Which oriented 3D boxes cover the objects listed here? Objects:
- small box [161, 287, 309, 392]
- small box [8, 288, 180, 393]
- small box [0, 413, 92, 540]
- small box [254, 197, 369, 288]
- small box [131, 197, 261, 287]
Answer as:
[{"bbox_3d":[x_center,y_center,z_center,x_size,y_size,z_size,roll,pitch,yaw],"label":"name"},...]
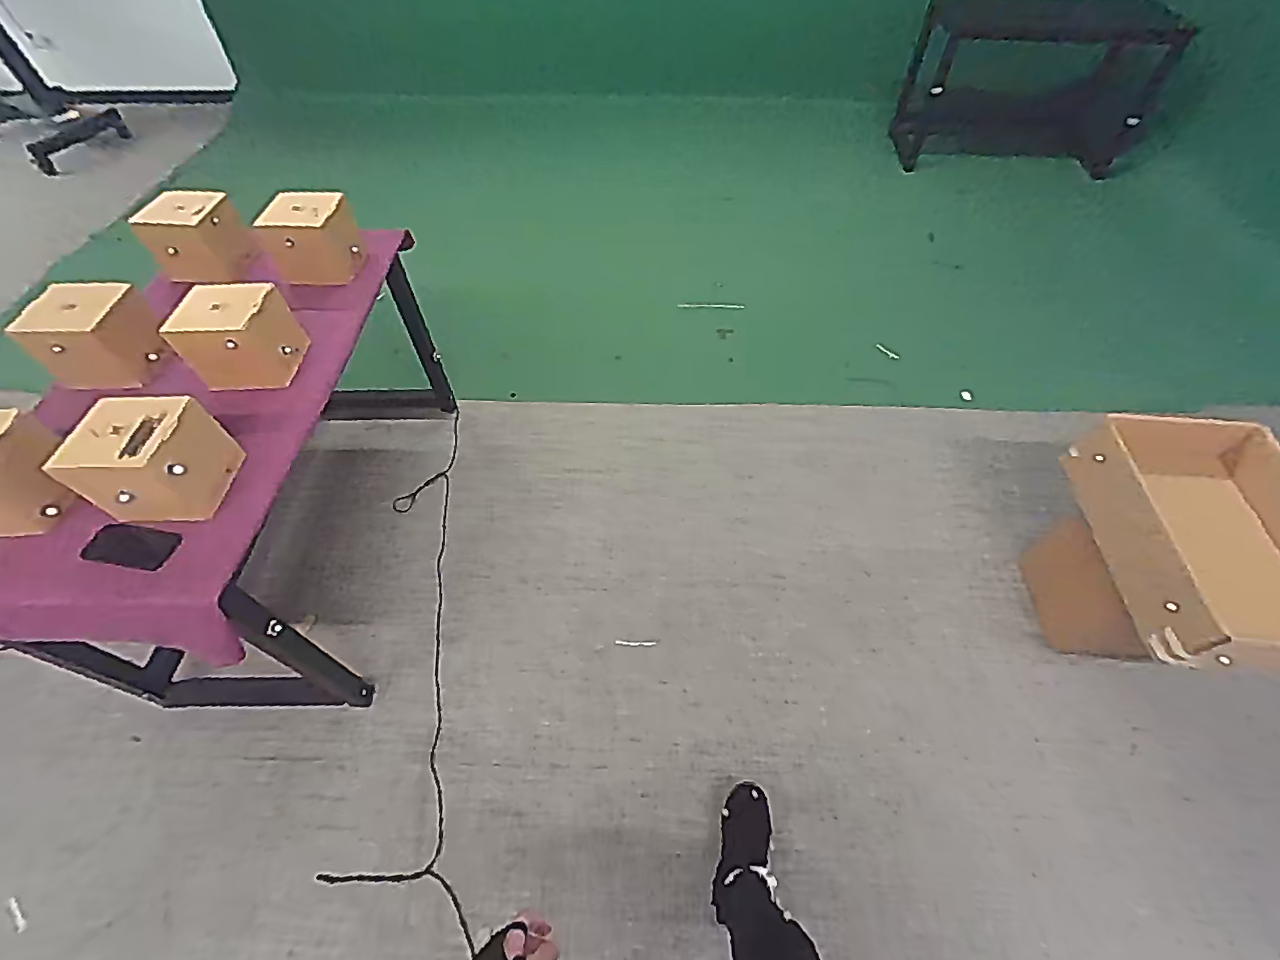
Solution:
[{"bbox_3d":[-0.893,-0.311,1.212,0.179,0.176,0.168,-2,53,0],"label":"small box"},{"bbox_3d":[-1.210,-0.311,1.217,0.179,0.176,0.168,0,54,0],"label":"small box"},{"bbox_3d":[-1.183,-0.001,0.983,0.179,0.176,0.168,-4,53,-1],"label":"small box"},{"bbox_3d":[-0.869,-0.634,1.448,0.179,0.176,0.168,2,55,2],"label":"small box"},{"bbox_3d":[-1.186,-0.641,1.461,0.179,0.176,0.168,2,54,2],"label":"small box"}]
